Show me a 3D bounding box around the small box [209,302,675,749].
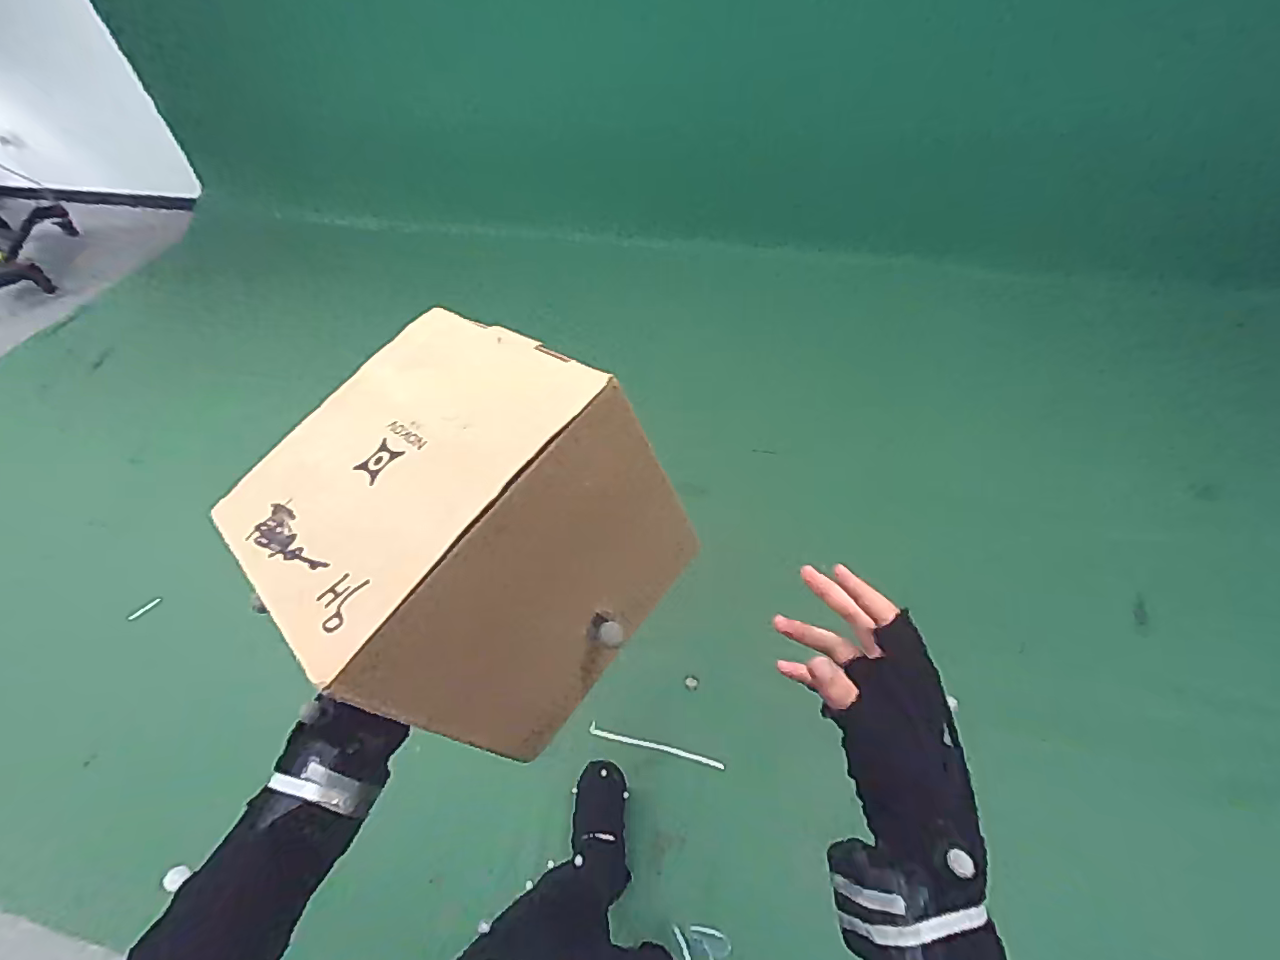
[{"bbox_3d":[-0.097,0.026,0.330,0.168,0.176,0.179,27,69,37],"label":"small box"}]
